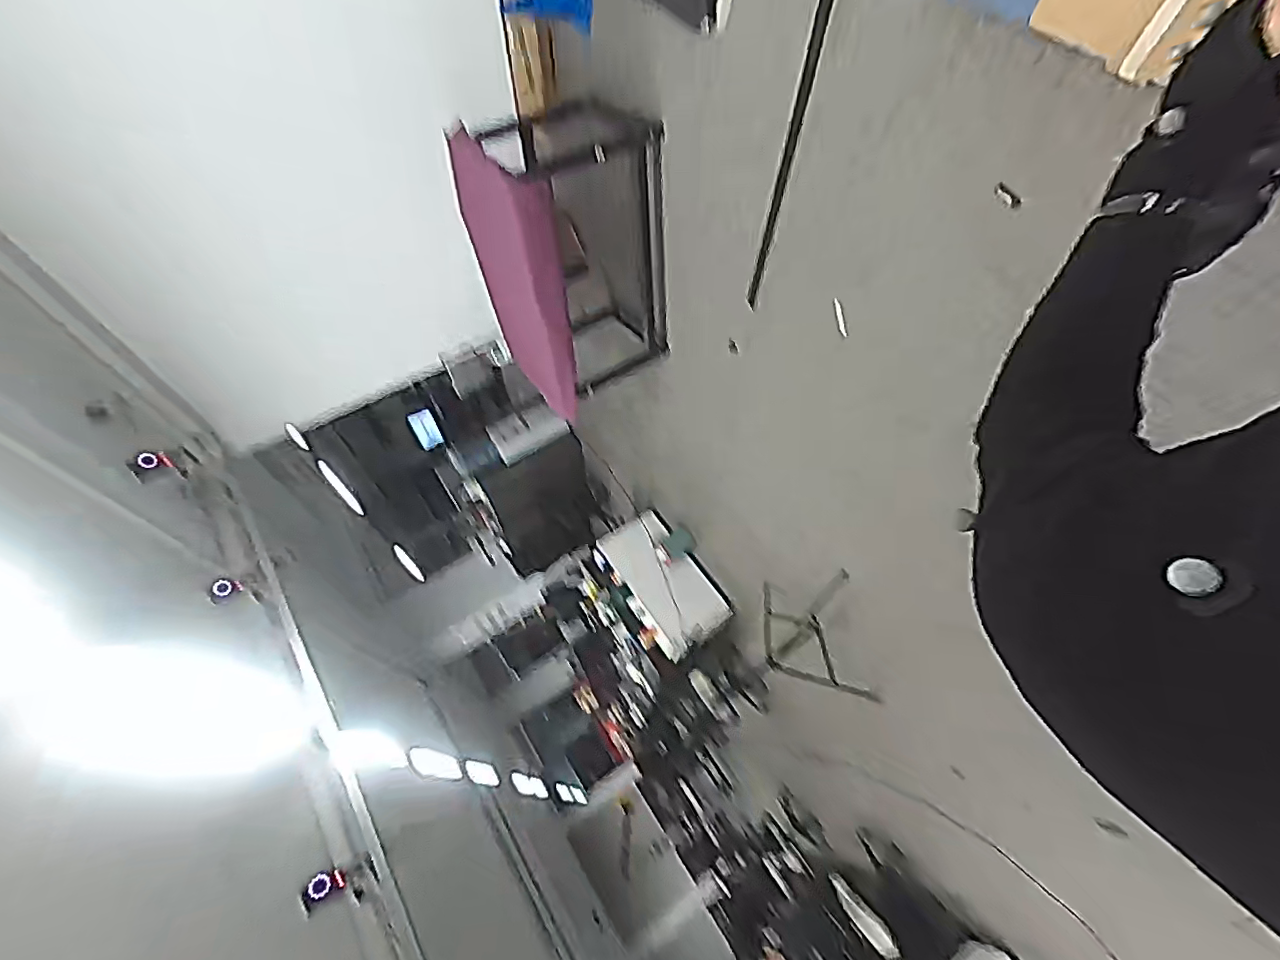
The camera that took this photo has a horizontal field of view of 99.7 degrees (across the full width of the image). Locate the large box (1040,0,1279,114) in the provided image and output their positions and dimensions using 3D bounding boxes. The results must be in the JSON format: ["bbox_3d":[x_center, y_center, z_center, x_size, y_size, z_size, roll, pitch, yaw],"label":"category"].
[{"bbox_3d":[0.777,-0.710,0.586,0.320,0.320,0.408,51,158,24],"label":"large box"}]
